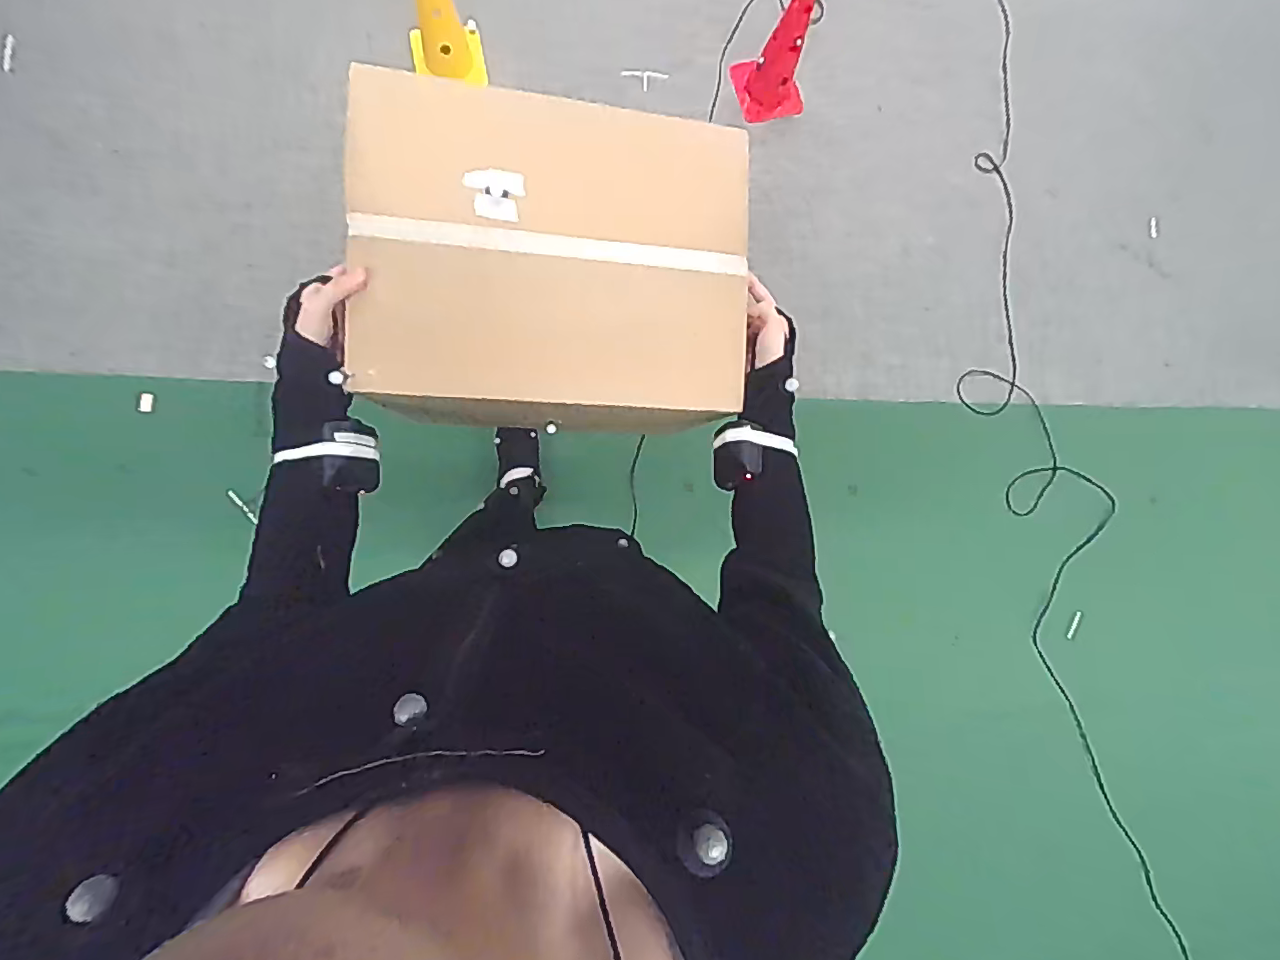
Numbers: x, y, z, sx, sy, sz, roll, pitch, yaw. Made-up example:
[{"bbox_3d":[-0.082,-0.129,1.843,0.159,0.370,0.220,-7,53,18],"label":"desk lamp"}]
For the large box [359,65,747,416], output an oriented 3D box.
[{"bbox_3d":[-0.104,-0.253,0.709,0.408,0.320,0.320,2,90,-11],"label":"large box"}]
